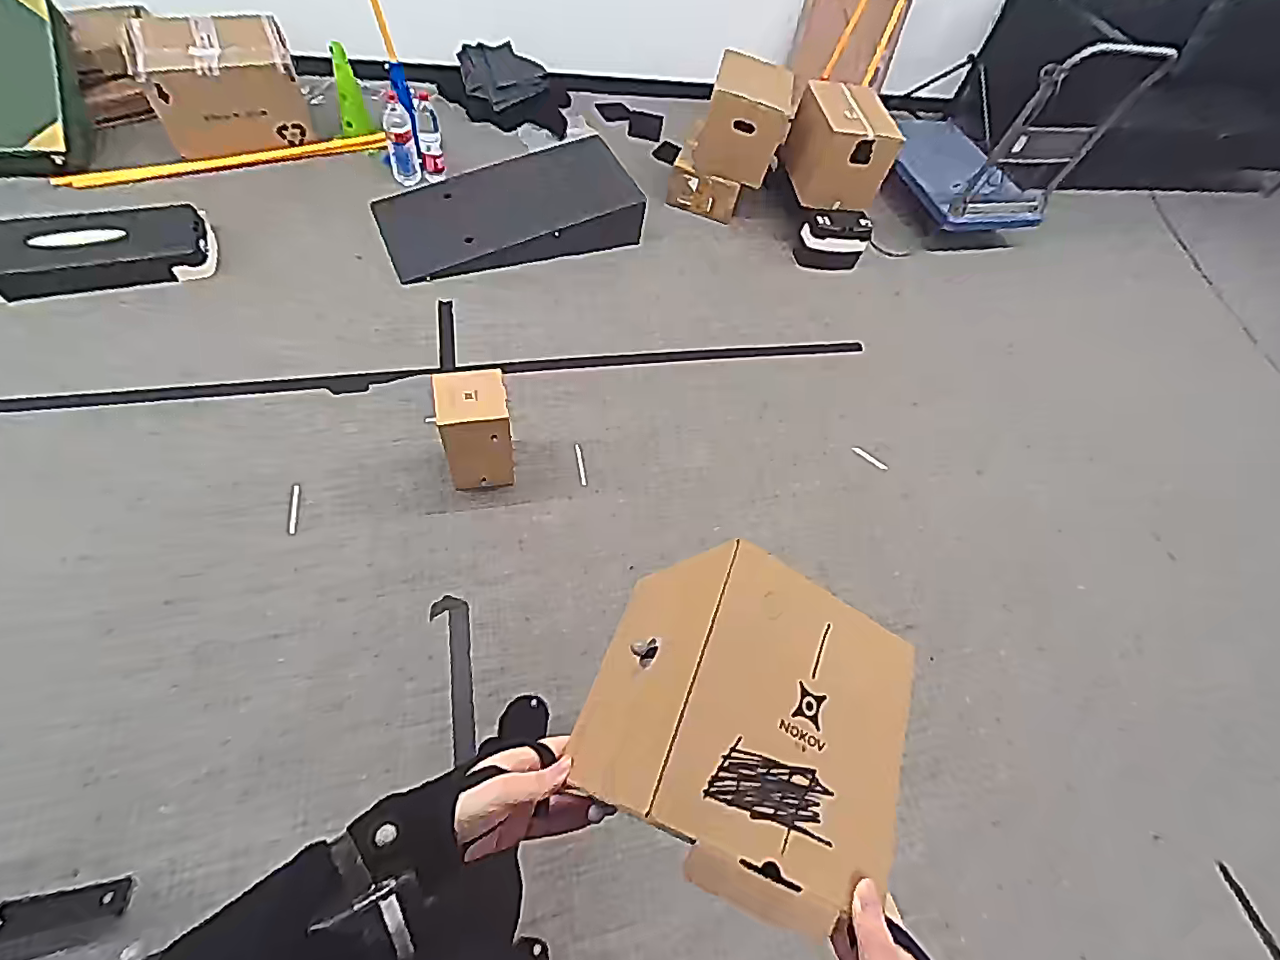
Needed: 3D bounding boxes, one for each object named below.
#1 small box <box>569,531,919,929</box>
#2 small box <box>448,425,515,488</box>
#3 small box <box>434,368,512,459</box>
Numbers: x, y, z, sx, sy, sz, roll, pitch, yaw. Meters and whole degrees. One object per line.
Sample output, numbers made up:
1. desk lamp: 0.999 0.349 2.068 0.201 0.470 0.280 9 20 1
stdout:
1. small box: 0.066 0.169 0.395 0.168 0.176 0.179 32 59 -12
2. small box: -0.458 -0.091 1.561 0.179 0.176 0.168 -6 61 -15
3. small box: -0.433 -0.171 1.421 0.179 0.176 0.168 -8 61 -14
